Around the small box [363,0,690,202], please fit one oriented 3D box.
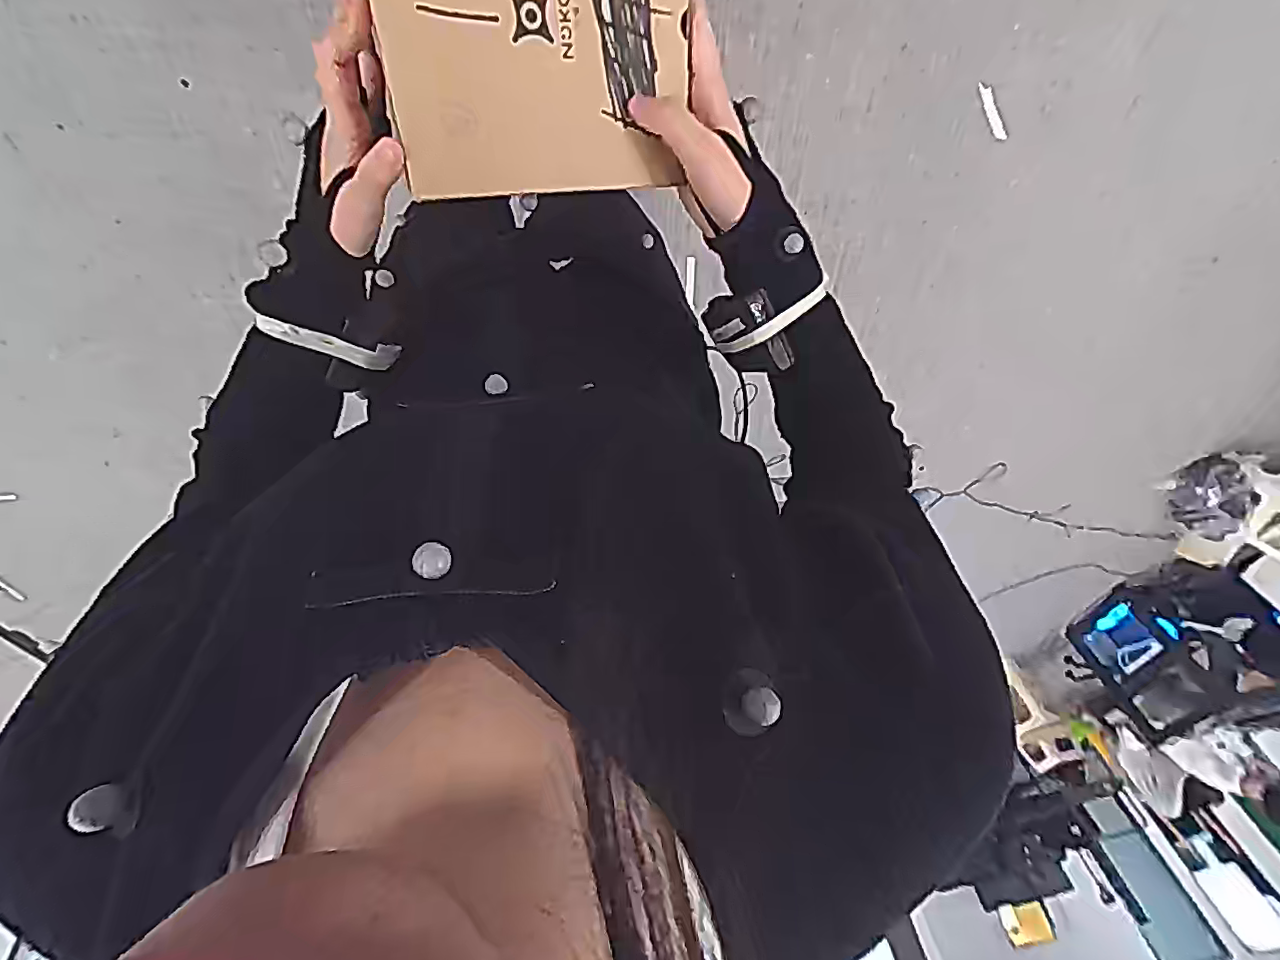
[{"bbox_3d":[-0.080,-0.285,0.355,0.179,0.176,0.168,-12,123,-17],"label":"small box"}]
